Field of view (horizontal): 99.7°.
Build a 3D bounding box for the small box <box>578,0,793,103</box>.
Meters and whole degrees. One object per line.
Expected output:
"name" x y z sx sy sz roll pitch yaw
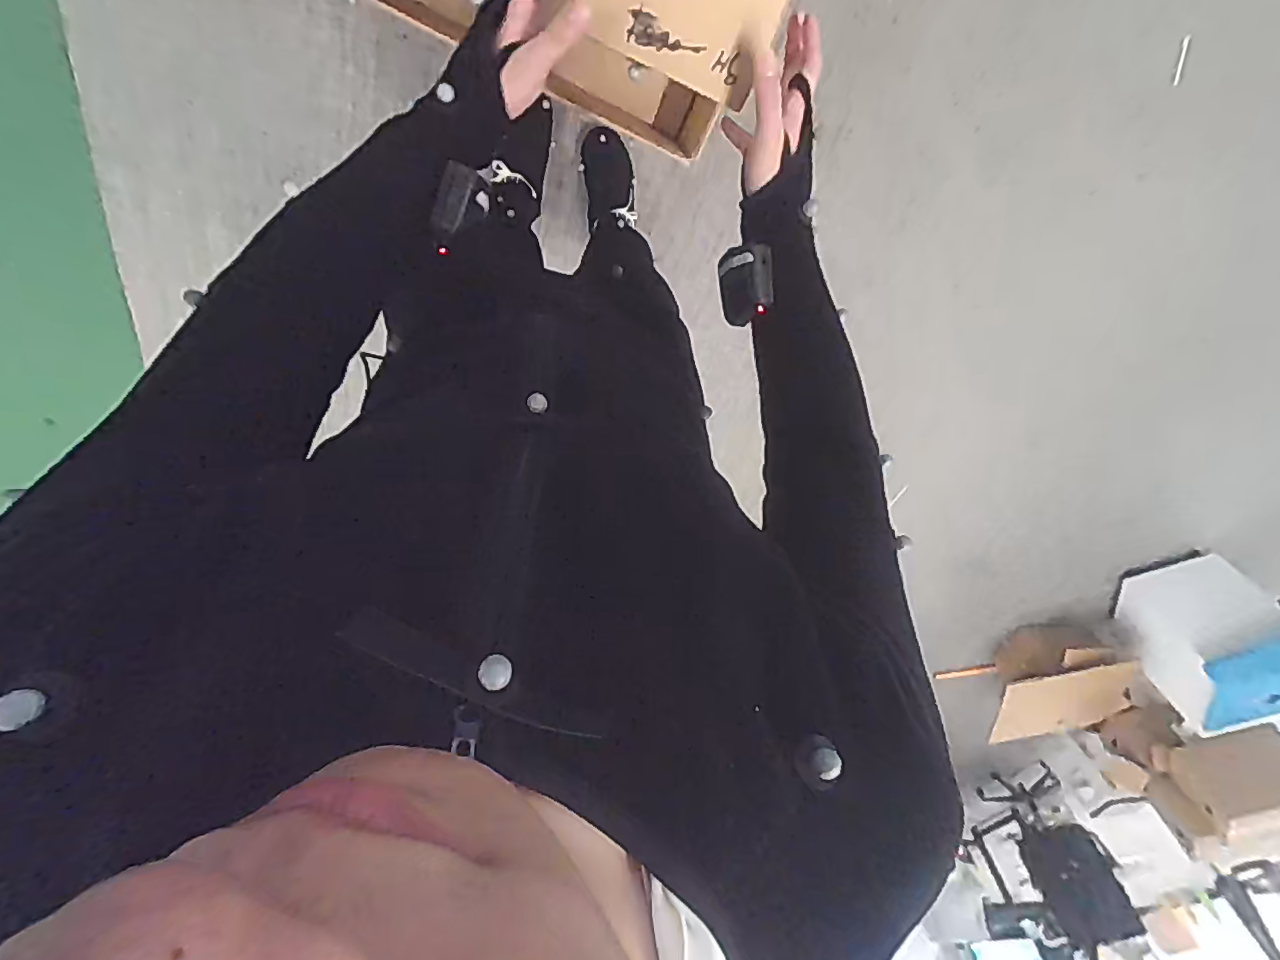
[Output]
"small box" 0.047 -0.472 0.471 0.168 0.176 0.179 14 129 -18
